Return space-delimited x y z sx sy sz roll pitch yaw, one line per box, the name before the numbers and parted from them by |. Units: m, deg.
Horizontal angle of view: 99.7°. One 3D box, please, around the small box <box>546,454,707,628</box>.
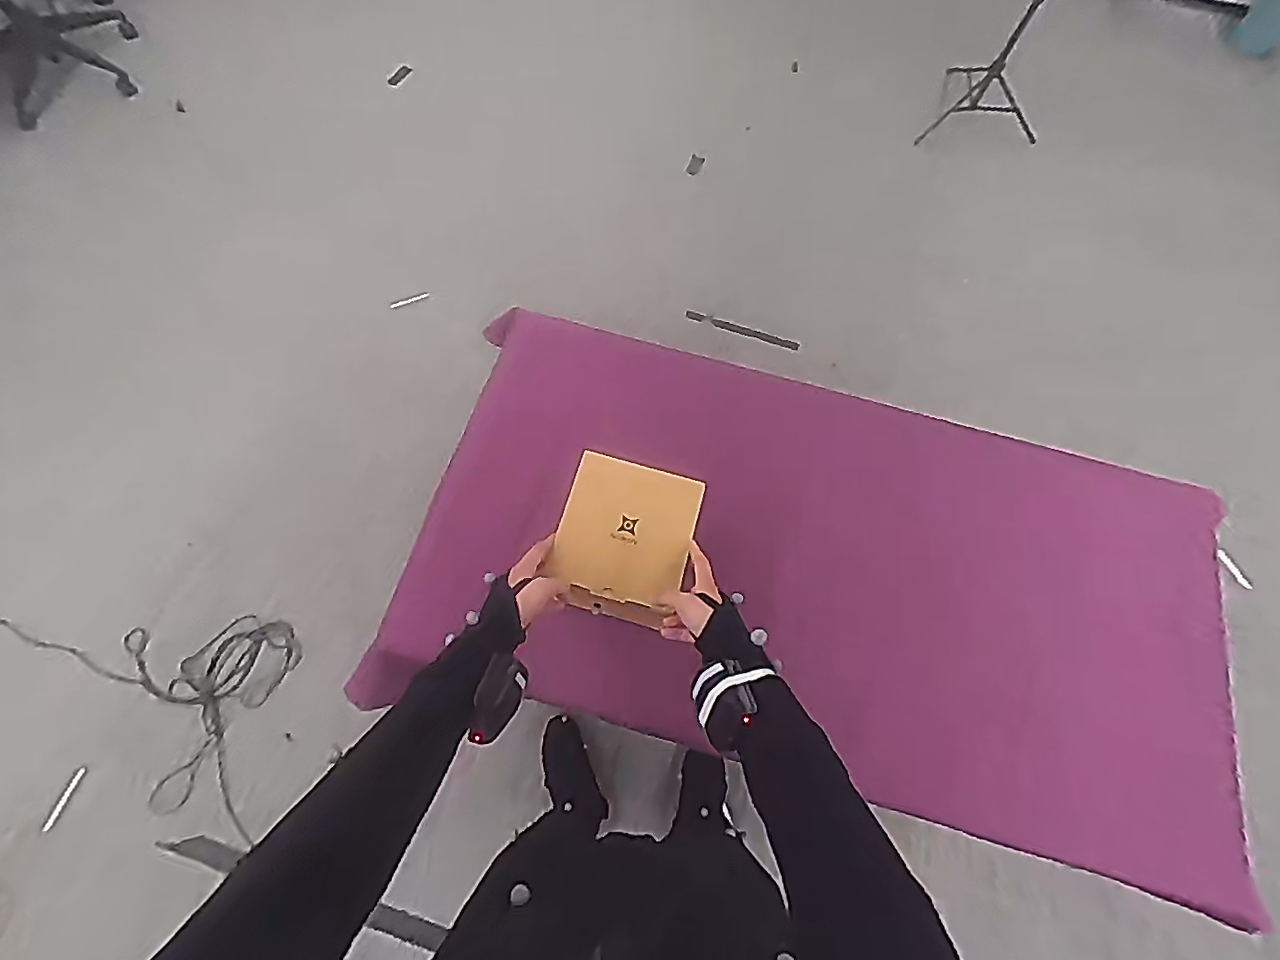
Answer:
small box | -0.019 0.092 0.745 0.168 0.176 0.179 16 70 2
